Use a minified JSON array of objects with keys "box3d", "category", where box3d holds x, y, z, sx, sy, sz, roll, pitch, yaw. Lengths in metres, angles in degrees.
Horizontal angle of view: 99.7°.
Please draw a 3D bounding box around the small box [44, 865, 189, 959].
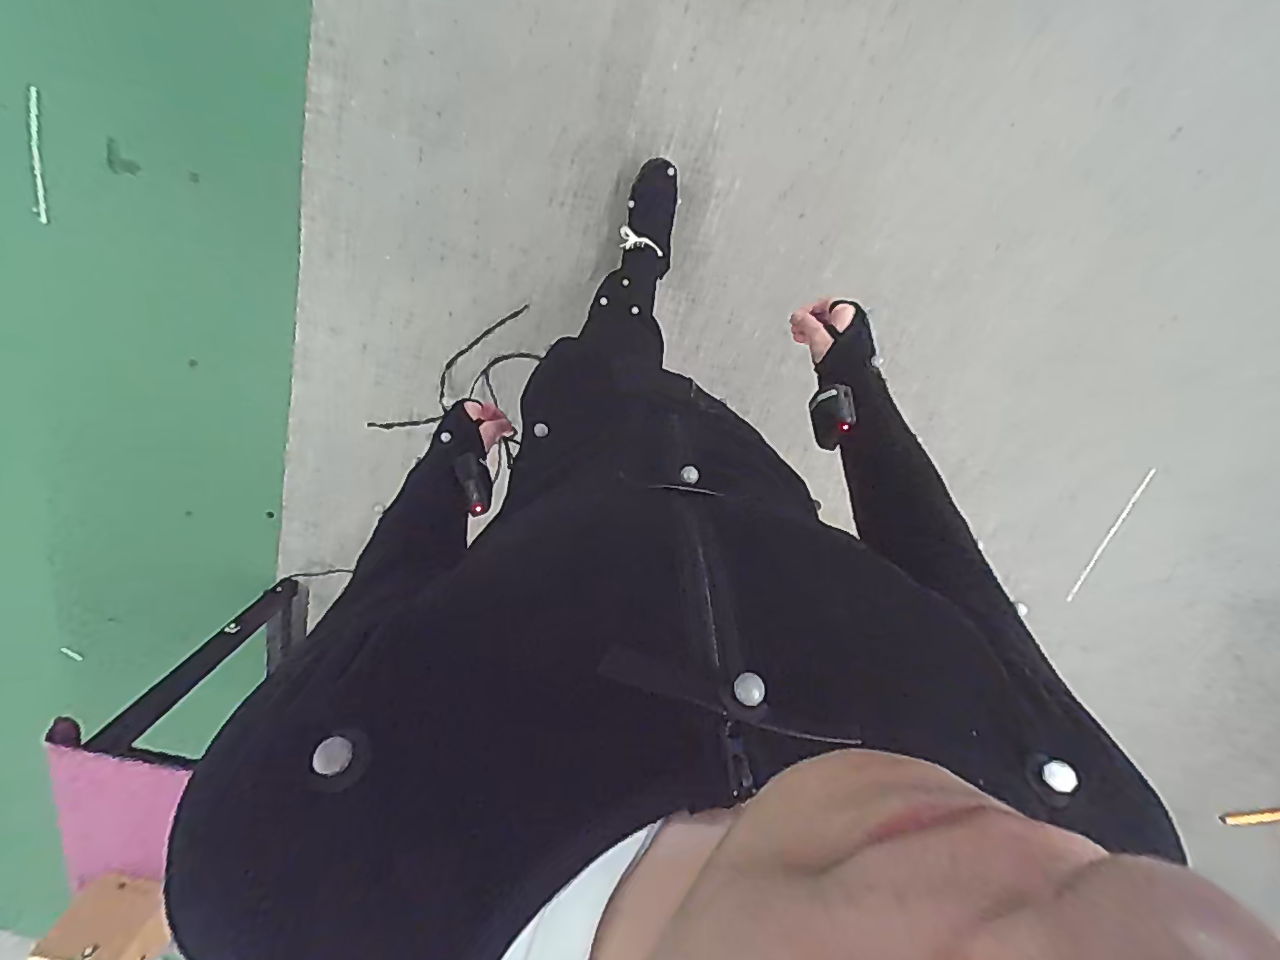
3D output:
[{"box3d":[-1.150,1.010,1.204,0.168,0.176,0.179,16,111,-5],"category":"small box"}]
